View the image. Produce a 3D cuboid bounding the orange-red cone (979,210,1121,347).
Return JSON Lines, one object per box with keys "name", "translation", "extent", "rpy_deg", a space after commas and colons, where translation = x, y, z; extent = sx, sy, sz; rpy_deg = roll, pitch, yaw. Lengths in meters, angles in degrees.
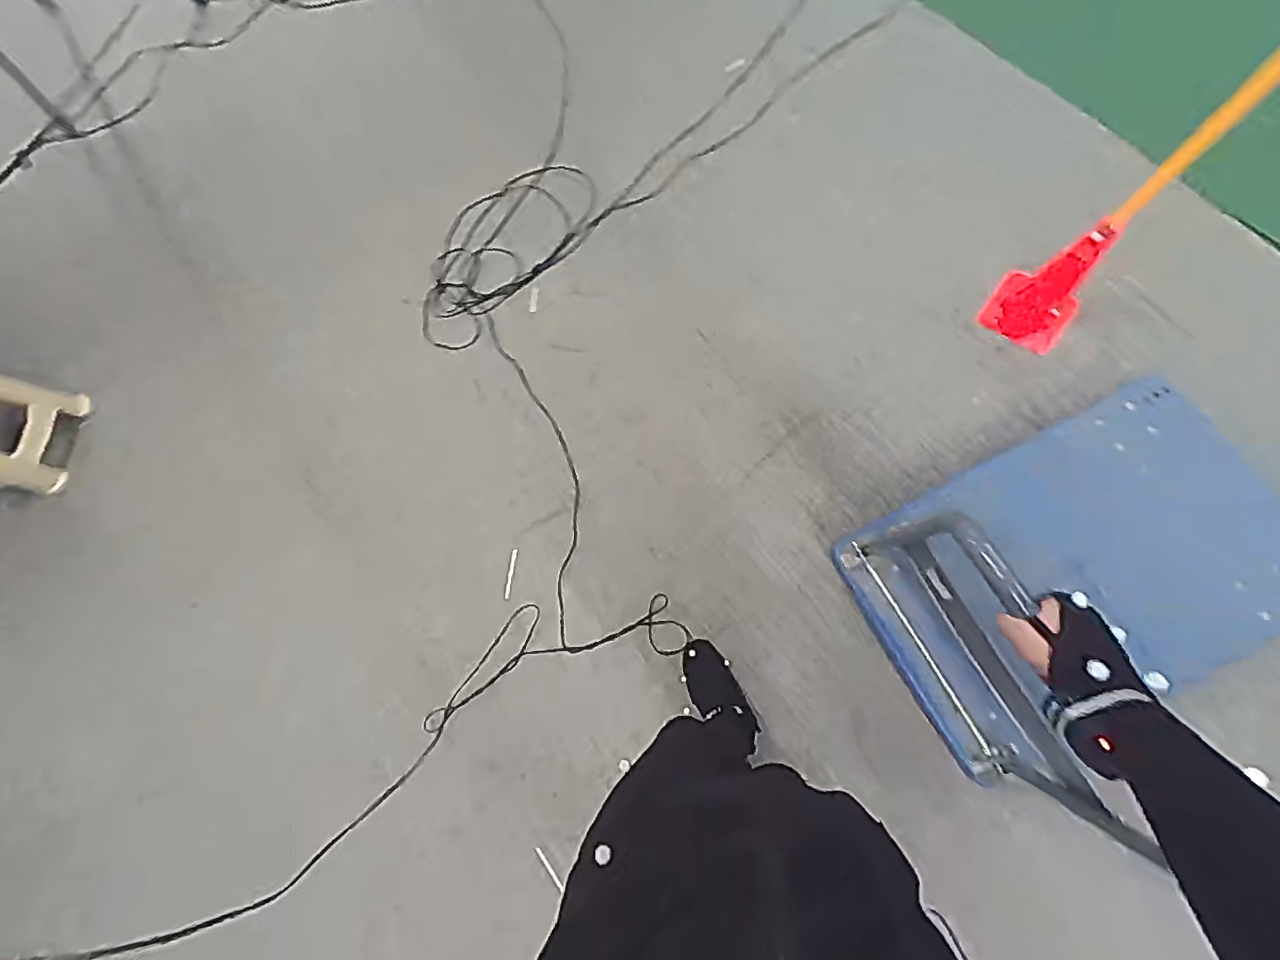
{"name": "orange-red cone", "translation": [1.050, -0.526, 1.342], "extent": [0.199, 0.360, 0.198], "rpy_deg": [37, 83, 17]}
